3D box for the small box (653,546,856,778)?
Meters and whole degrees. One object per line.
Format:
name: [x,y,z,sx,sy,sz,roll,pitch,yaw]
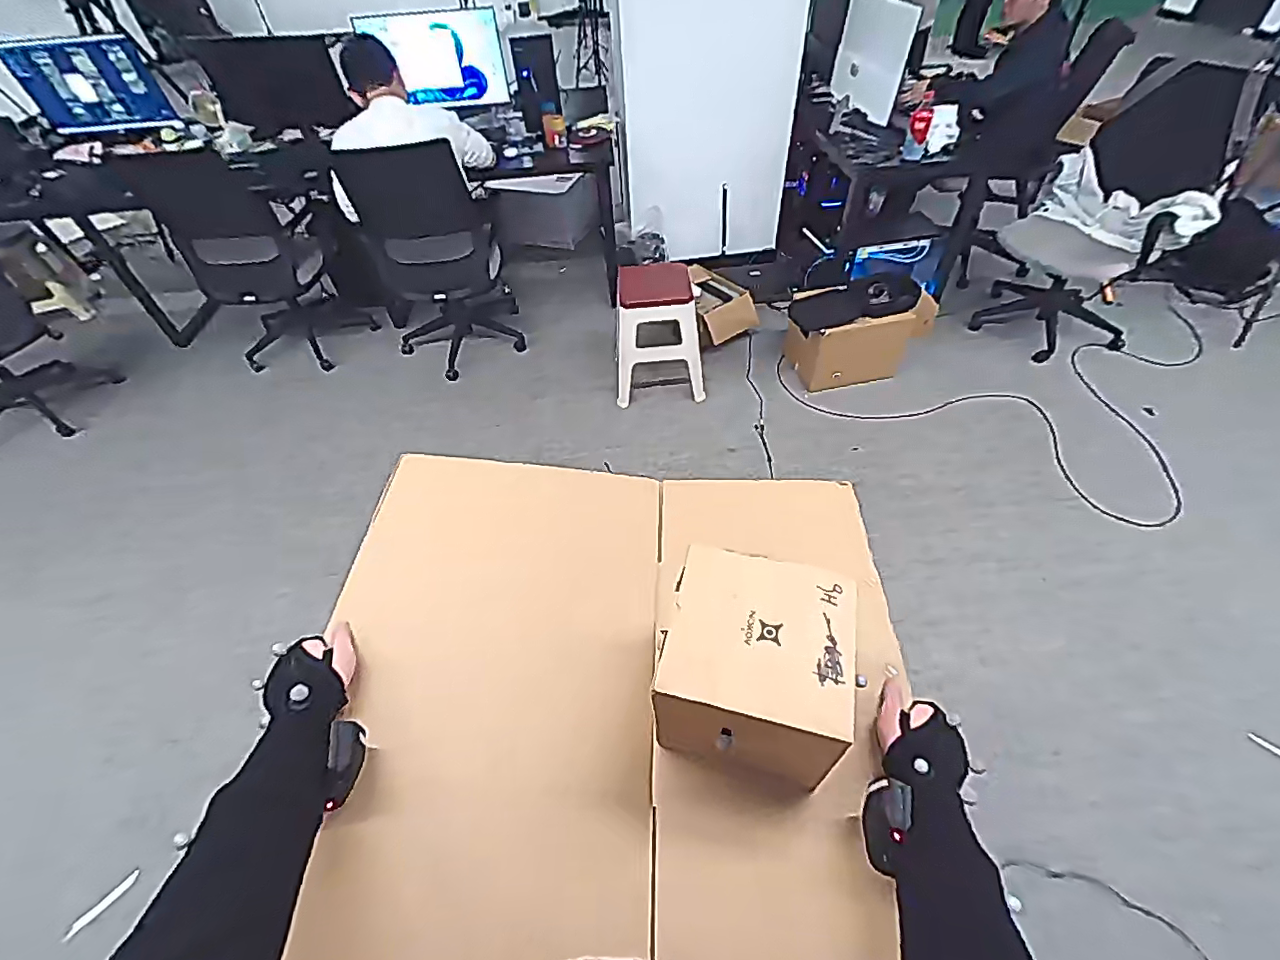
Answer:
small box: [0.122,0.197,0.583,0.179,0.176,0.168,9,50,14]
